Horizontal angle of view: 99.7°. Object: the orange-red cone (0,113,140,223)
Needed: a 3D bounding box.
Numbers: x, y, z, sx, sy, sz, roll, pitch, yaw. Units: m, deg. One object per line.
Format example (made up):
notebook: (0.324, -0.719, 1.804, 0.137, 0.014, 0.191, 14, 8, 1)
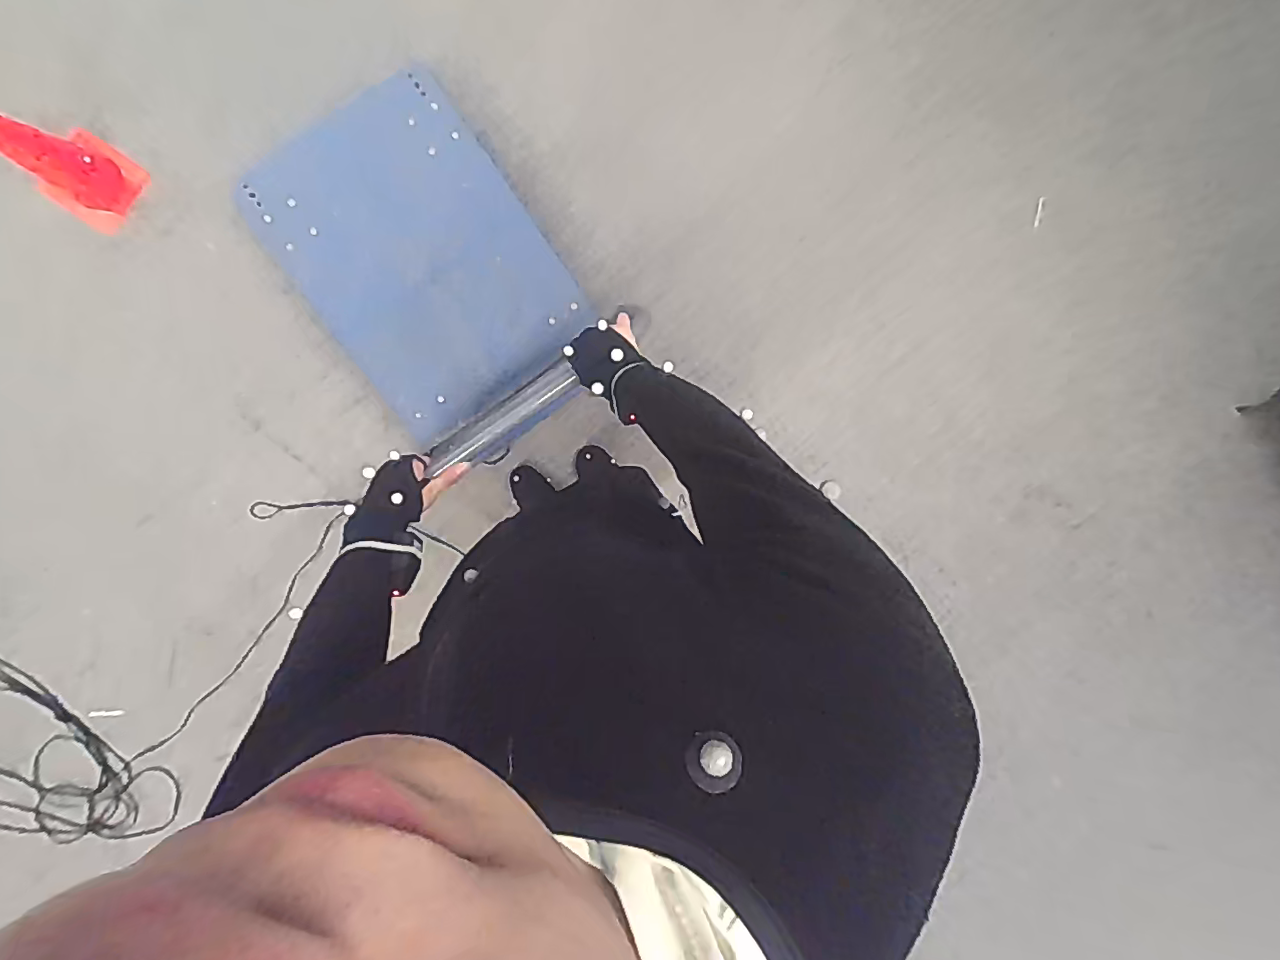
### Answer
orange-red cone: (-1.402, -0.770, 1.220, 0.198, 0.360, 0.199, 36, 92, -8)
